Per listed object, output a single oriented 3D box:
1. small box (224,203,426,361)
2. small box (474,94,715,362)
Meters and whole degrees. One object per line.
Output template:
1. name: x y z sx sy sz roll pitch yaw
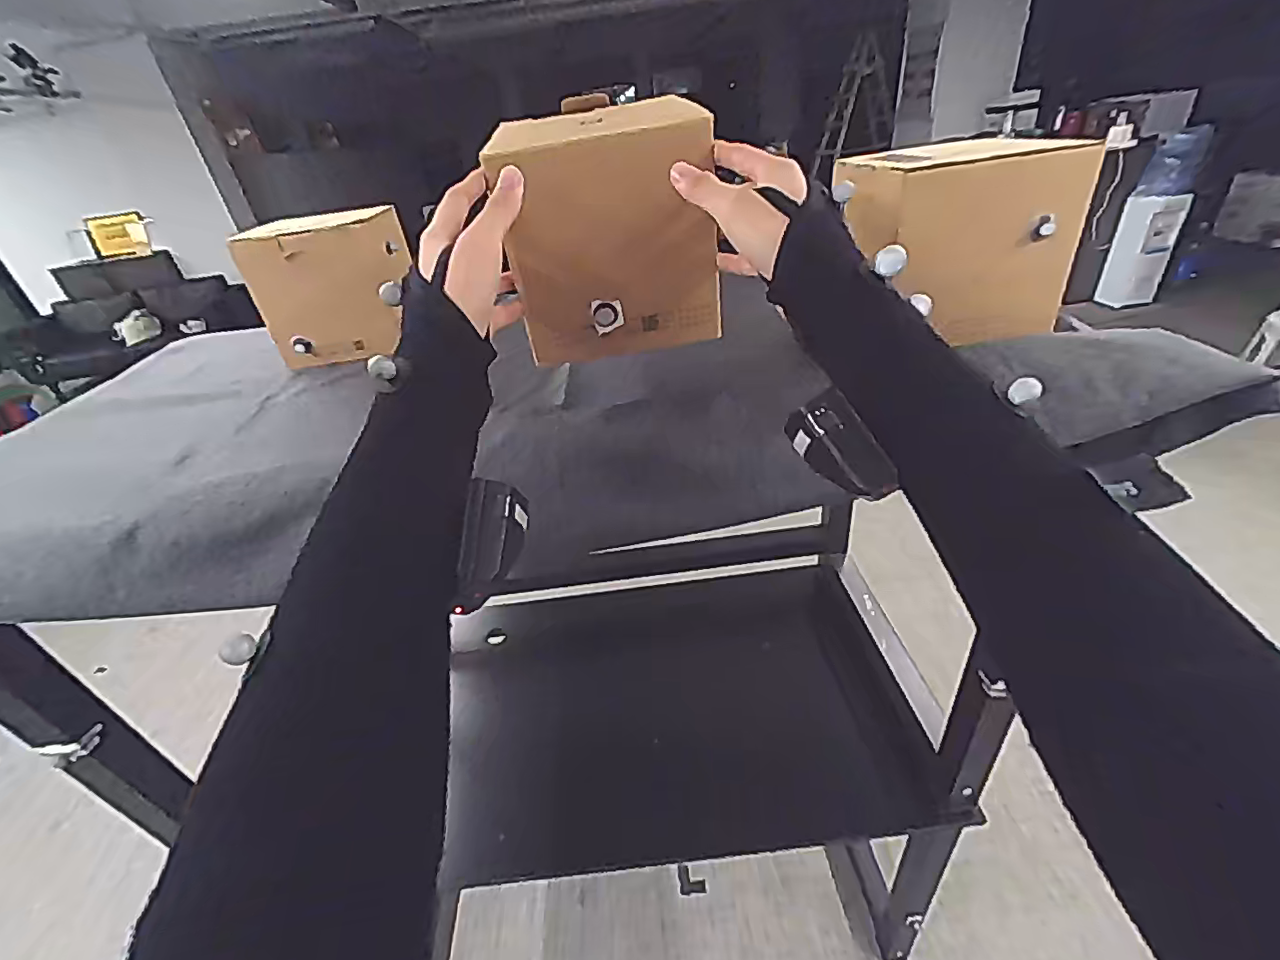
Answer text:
1. small box: -0.421 -0.277 0.763 0.168 0.176 0.179 -10 33 -3
2. small box: -0.031 -0.225 0.480 0.168 0.176 0.179 -10 40 0
